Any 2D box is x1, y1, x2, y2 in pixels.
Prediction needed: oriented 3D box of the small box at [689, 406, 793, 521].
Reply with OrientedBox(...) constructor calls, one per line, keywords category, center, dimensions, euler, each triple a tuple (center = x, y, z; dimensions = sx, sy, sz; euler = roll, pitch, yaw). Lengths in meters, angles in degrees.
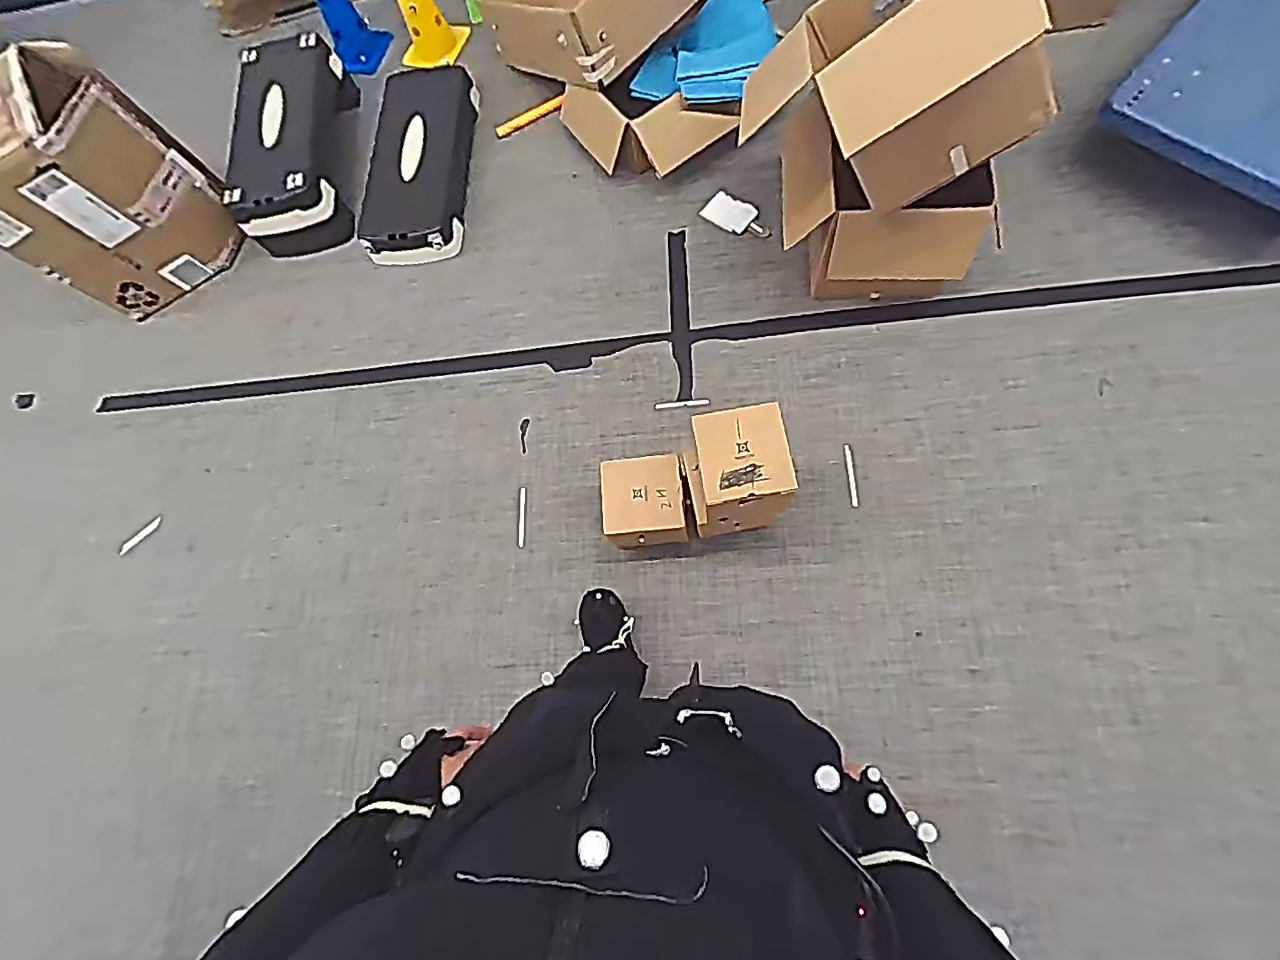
OrientedBox(category="small box", center=(0.193, -0.023, 1.061), dimensions=(0.168, 0.176, 0.179), euler=(-9, 72, 4))
